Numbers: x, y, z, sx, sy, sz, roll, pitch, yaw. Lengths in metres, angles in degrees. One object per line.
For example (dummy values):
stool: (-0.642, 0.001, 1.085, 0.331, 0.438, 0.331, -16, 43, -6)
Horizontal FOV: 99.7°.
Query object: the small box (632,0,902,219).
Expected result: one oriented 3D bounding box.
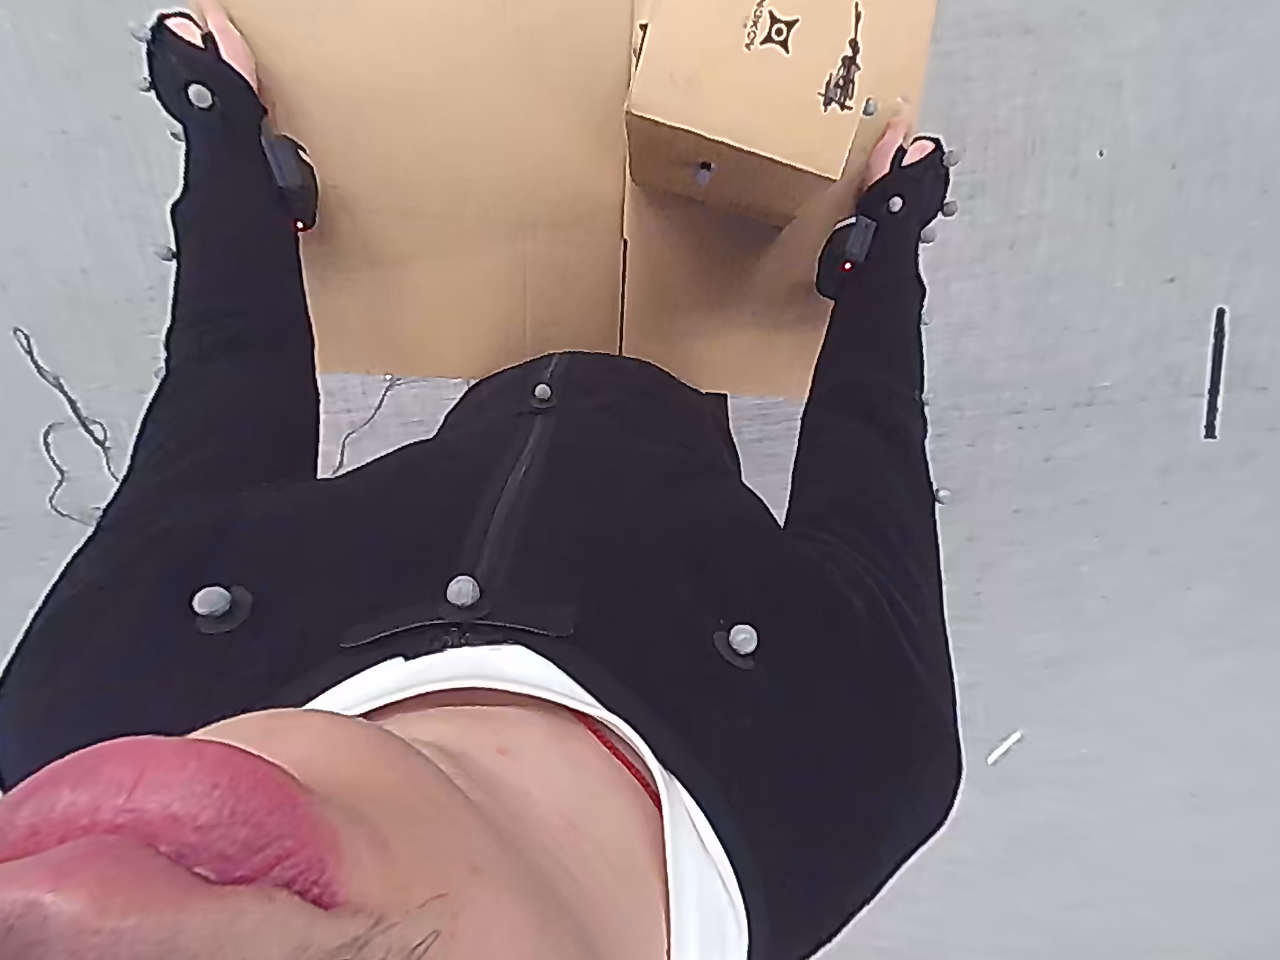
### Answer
small box: (0.100, -0.355, 0.482, 0.179, 0.176, 0.168, 16, 103, -3)
